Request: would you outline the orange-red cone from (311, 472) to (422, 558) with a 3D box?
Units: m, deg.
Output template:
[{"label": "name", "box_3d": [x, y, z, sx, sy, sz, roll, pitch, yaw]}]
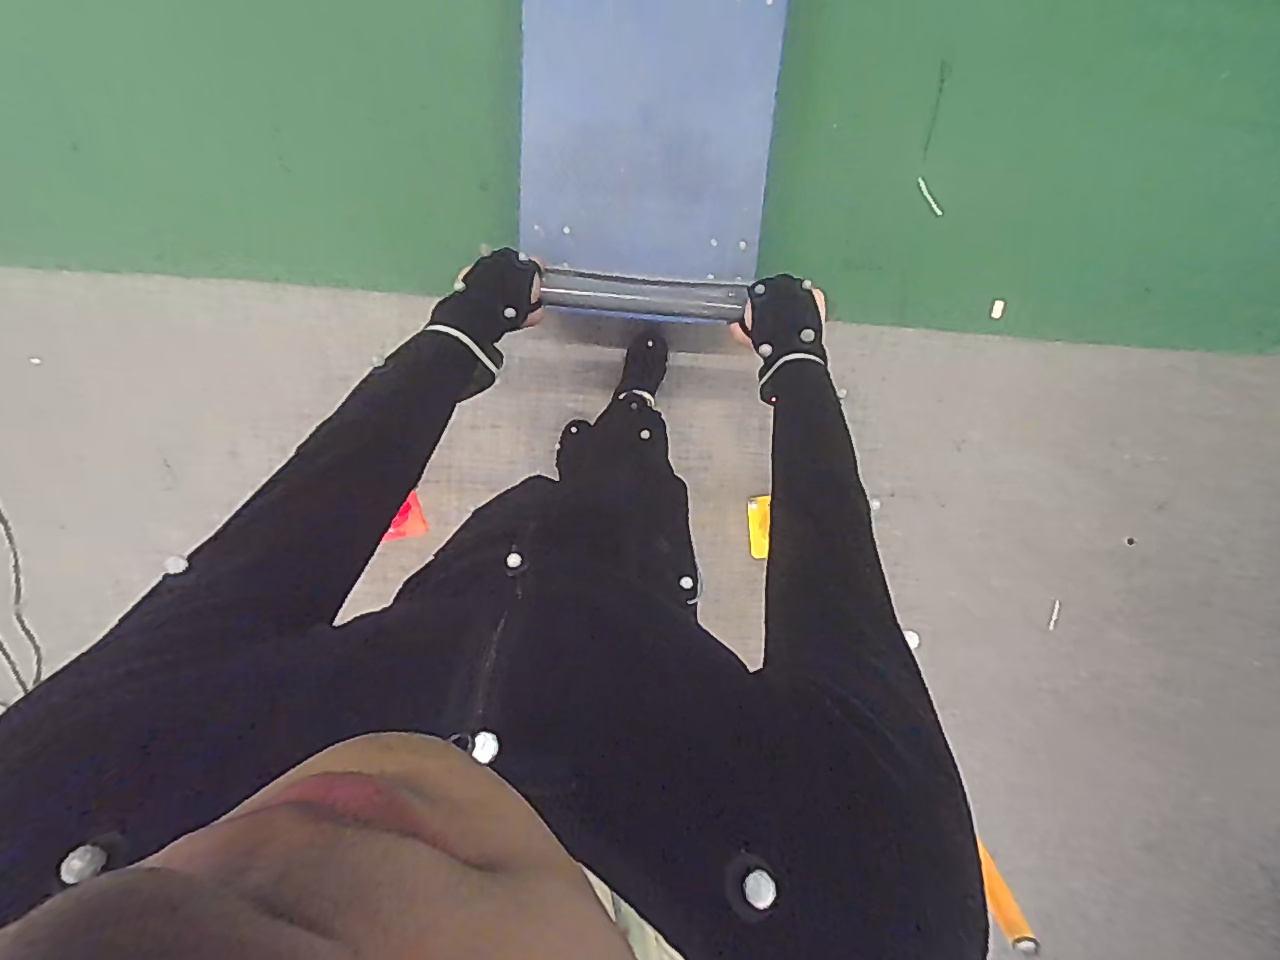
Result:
[{"label": "orange-red cone", "box_3d": [-0.742, 0.122, 1.405, 0.199, 0.360, 0.198, -11, 104, 1]}]
